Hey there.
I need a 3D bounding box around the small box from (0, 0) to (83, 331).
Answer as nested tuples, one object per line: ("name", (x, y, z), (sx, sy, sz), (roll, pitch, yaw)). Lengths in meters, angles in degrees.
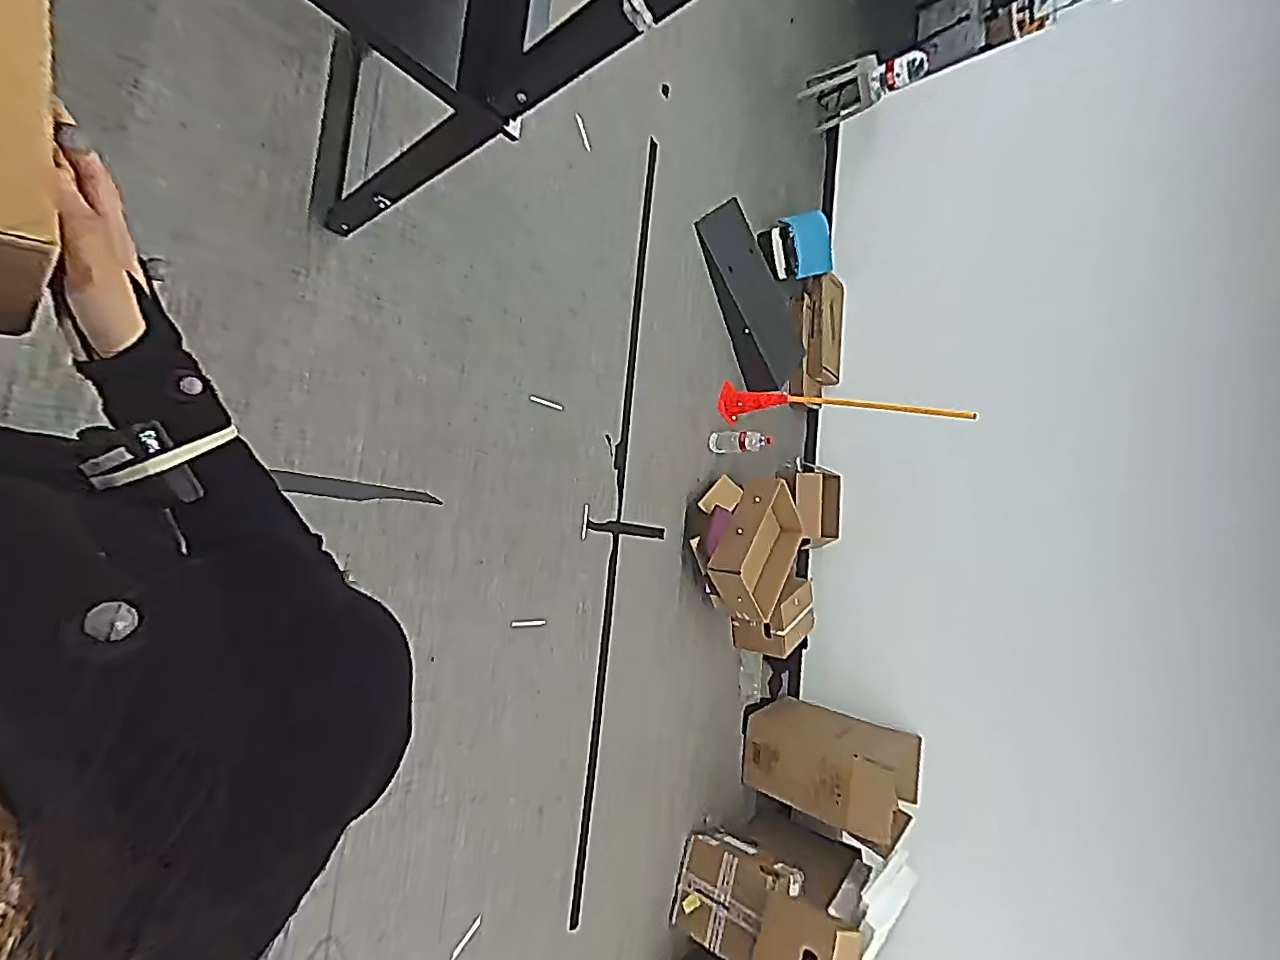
("small box", (-0.397, -0.189, 0.256), (0.168, 0.176, 0.179), (-2, 87, -52))
